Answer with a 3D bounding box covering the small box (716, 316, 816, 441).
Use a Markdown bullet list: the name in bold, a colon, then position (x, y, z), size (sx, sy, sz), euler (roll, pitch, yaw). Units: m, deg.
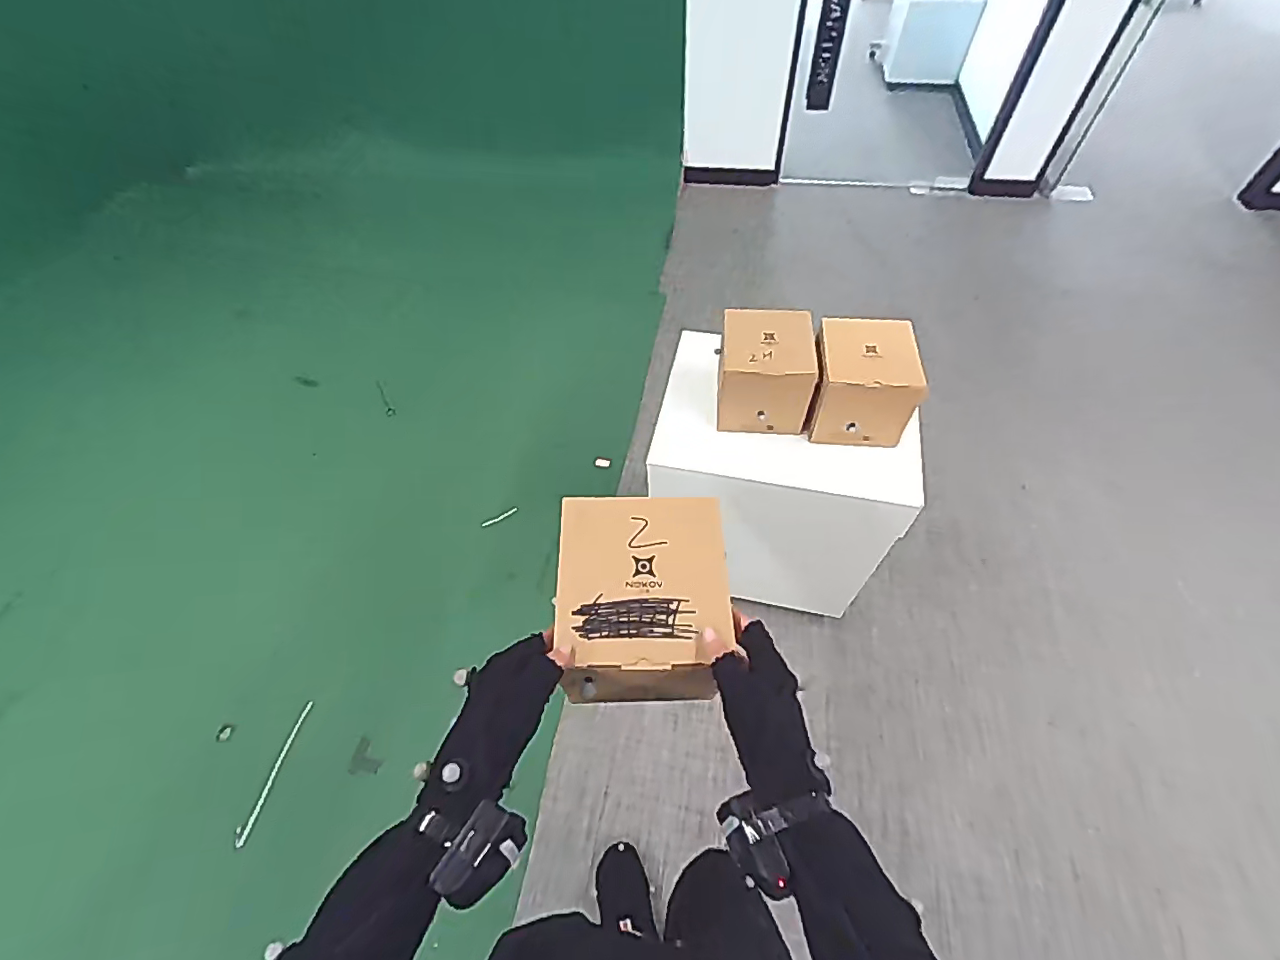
- **small box**: position (0.238, -0.198, 1.063), size (0.168, 0.176, 0.179), euler (3, 55, 6)
